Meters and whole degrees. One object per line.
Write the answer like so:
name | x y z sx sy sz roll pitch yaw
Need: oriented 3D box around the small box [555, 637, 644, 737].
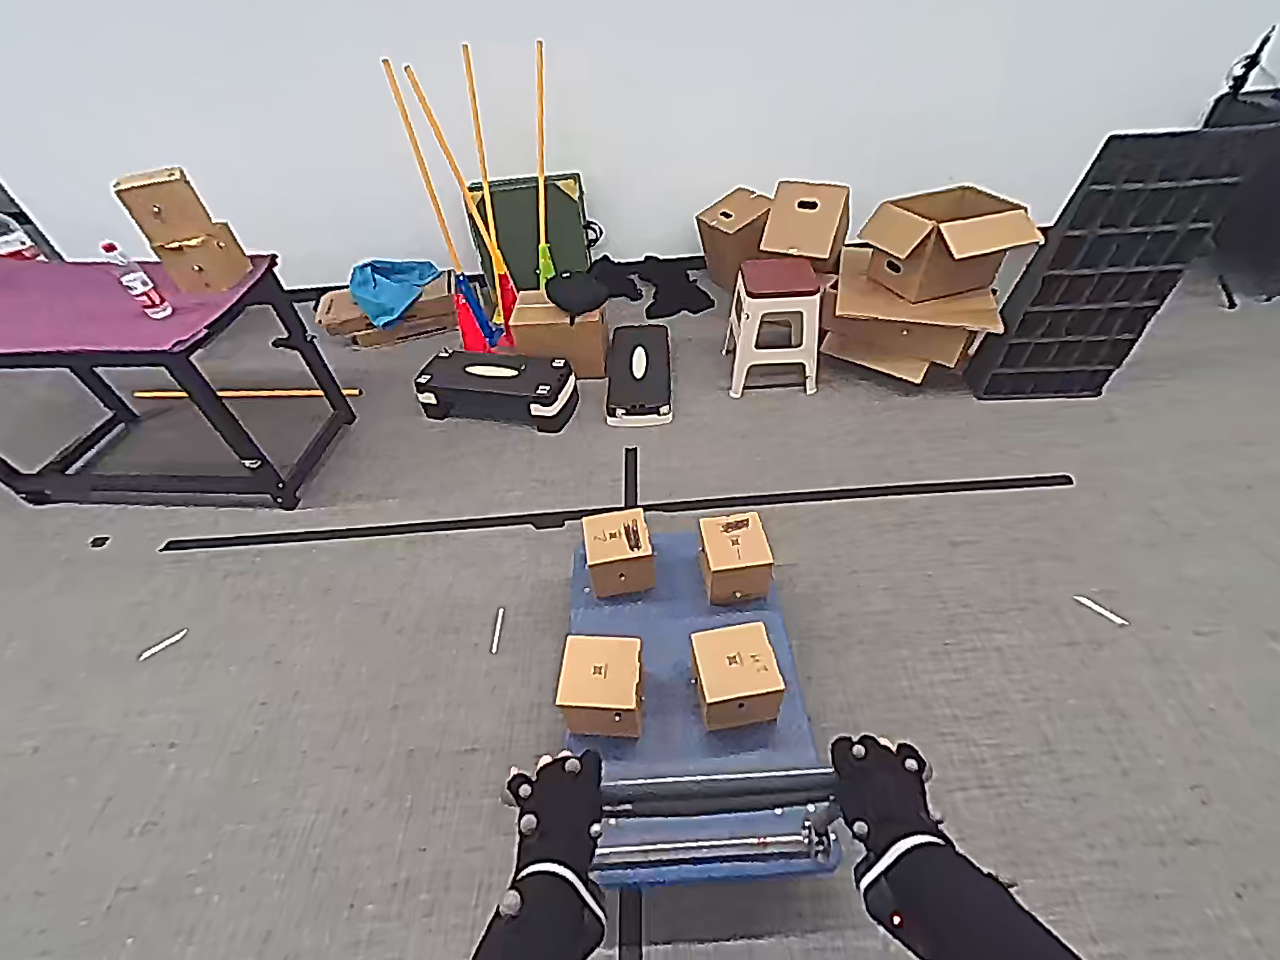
small box | -0.086 0.483 1.259 0.179 0.176 0.168 1 46 5

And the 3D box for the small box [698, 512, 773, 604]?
small box | 0.255 0.215 1.484 0.168 0.176 0.179 -7 47 -2

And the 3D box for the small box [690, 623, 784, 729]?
small box | 0.218 0.458 1.253 0.179 0.176 0.168 -9 46 -3
